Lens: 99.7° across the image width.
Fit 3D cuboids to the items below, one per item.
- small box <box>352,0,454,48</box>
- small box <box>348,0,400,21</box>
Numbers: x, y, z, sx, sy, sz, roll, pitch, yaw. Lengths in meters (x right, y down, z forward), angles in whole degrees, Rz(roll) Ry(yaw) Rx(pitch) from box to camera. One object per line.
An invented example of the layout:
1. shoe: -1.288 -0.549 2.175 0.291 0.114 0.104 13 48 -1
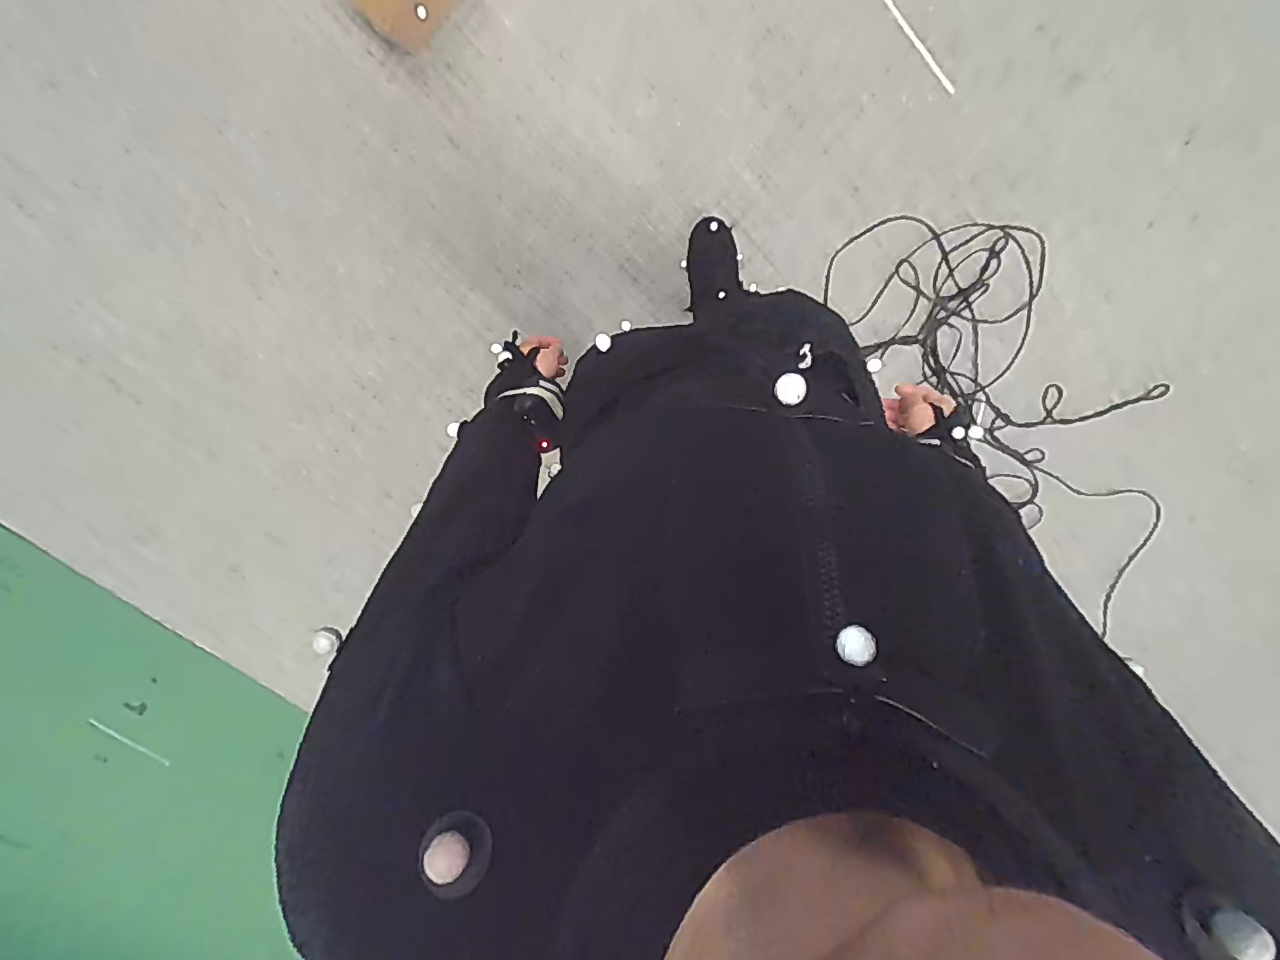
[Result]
1. small box: -0.444 -0.922 0.956 0.179 0.176 0.168 -38 107 19
2. small box: -0.433 -0.853 0.807 0.179 0.176 0.168 -38 108 18
